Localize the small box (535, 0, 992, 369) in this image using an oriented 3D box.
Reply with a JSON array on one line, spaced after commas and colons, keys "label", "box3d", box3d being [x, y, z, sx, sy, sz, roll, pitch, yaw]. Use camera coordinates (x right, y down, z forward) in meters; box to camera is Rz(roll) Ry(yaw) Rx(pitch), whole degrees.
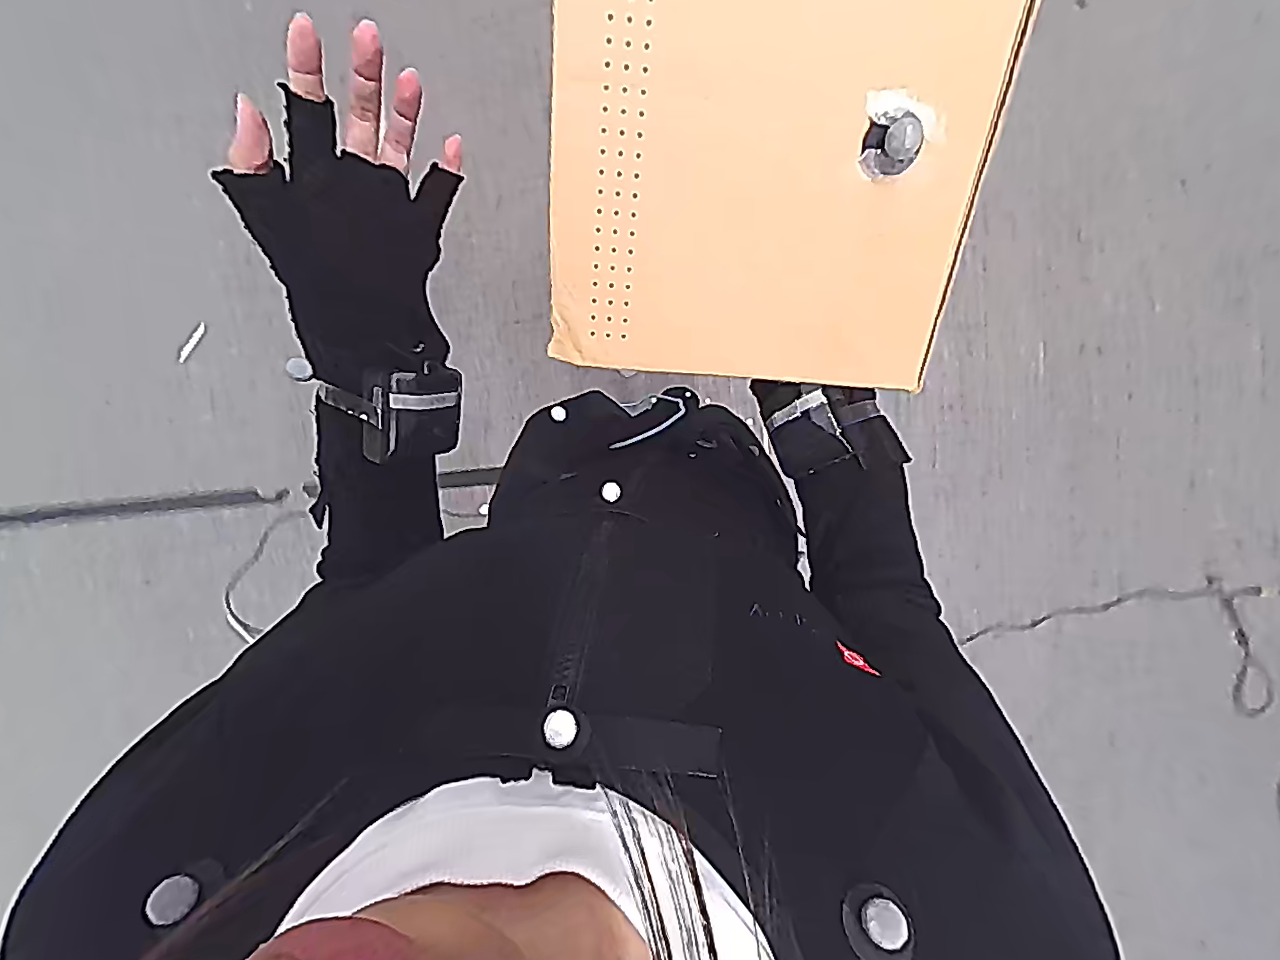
[{"label": "small box", "box3d": [0.035, -0.162, 0.282, 0.176, 0.168, 0.179, 2, 114, -6]}]
